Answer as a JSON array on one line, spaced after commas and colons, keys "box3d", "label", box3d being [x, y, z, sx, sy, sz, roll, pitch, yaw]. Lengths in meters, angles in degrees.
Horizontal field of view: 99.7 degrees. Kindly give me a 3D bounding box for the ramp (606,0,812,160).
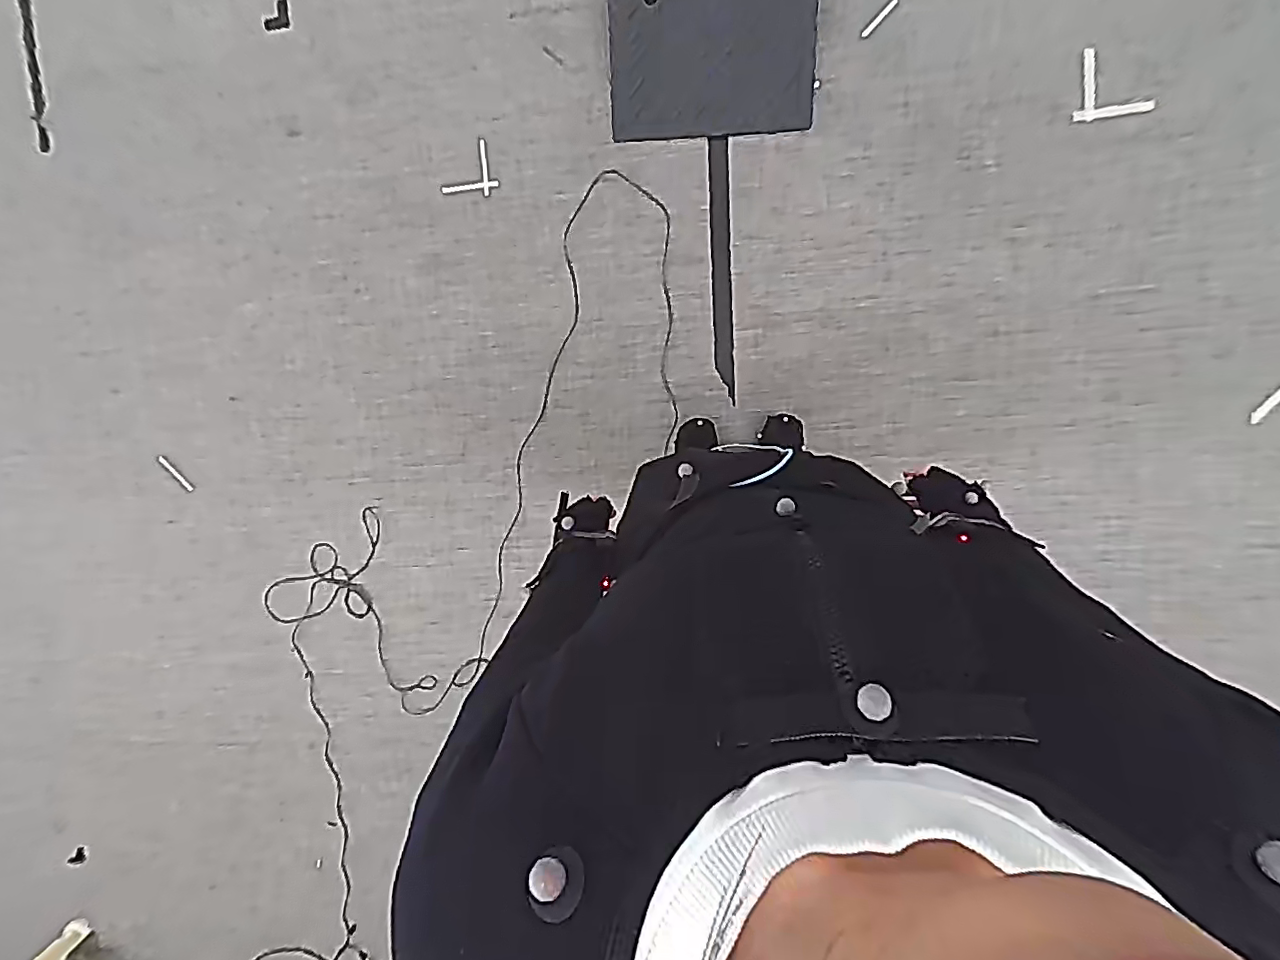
[{"box3d": [0.153, -1.315, 1.243, 0.509, 0.206, 0.991, -3, 96, 5], "label": "ramp"}]
